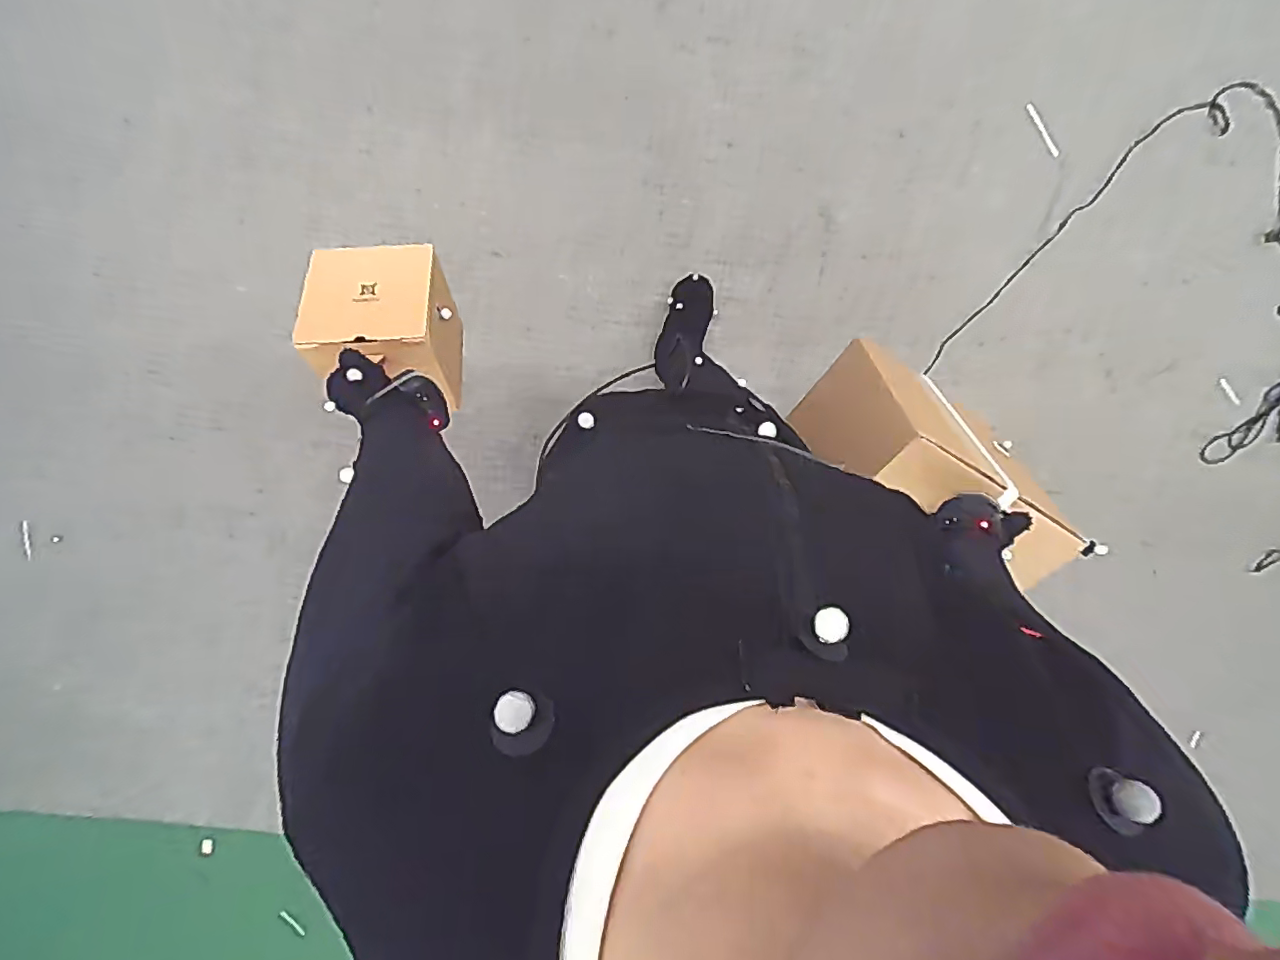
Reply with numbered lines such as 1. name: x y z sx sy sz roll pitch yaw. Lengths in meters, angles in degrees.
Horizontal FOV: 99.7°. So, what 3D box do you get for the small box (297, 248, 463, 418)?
1. small box: -0.367 -0.214 0.800 0.168 0.176 0.179 -5 63 -5
